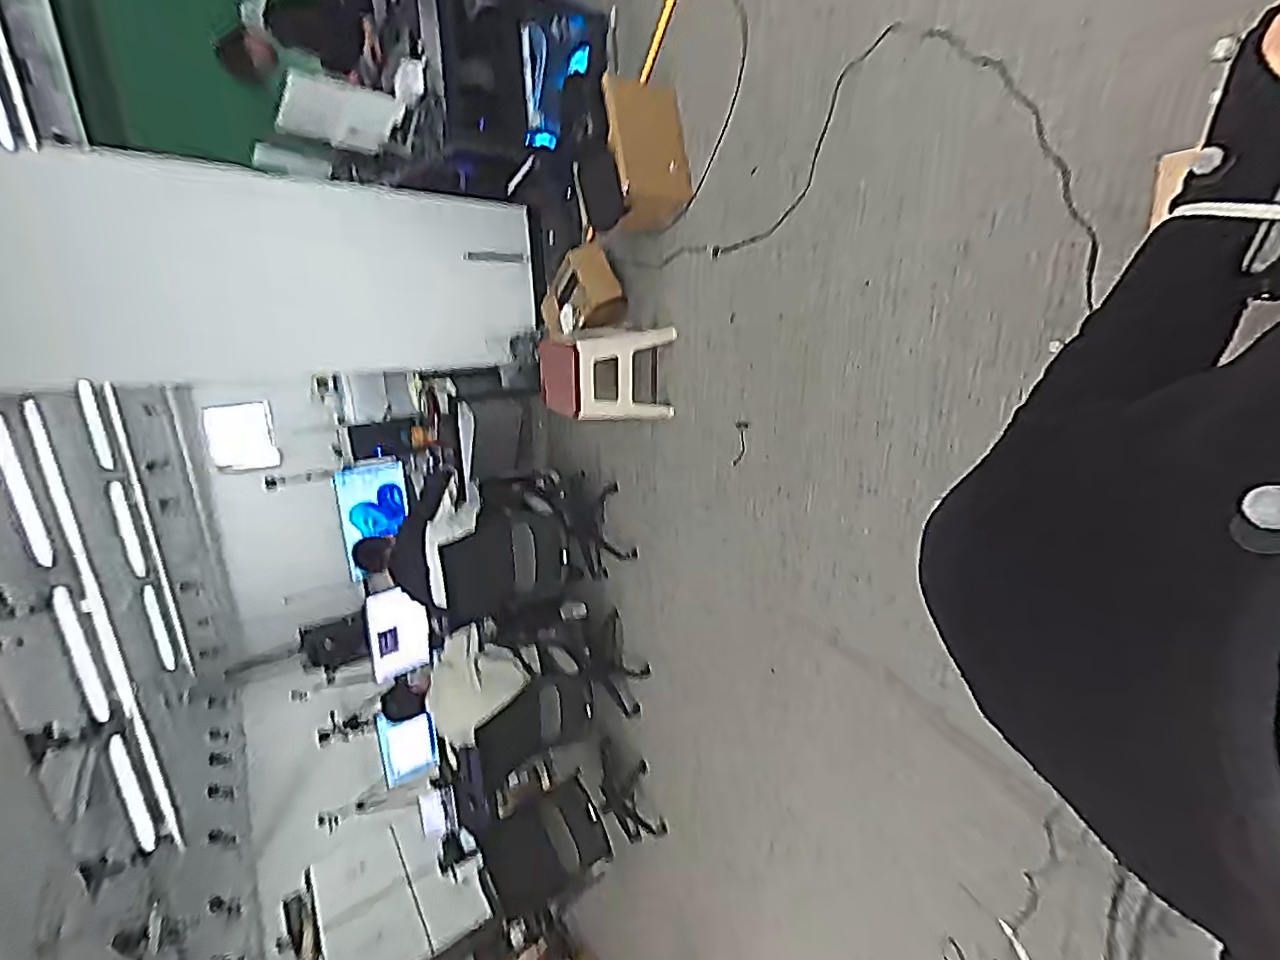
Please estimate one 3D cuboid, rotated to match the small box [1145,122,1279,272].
[{"bbox_3d":[0.921,-0.425,0.836,0.168,0.176,0.179,11,108,51],"label":"small box"}]
